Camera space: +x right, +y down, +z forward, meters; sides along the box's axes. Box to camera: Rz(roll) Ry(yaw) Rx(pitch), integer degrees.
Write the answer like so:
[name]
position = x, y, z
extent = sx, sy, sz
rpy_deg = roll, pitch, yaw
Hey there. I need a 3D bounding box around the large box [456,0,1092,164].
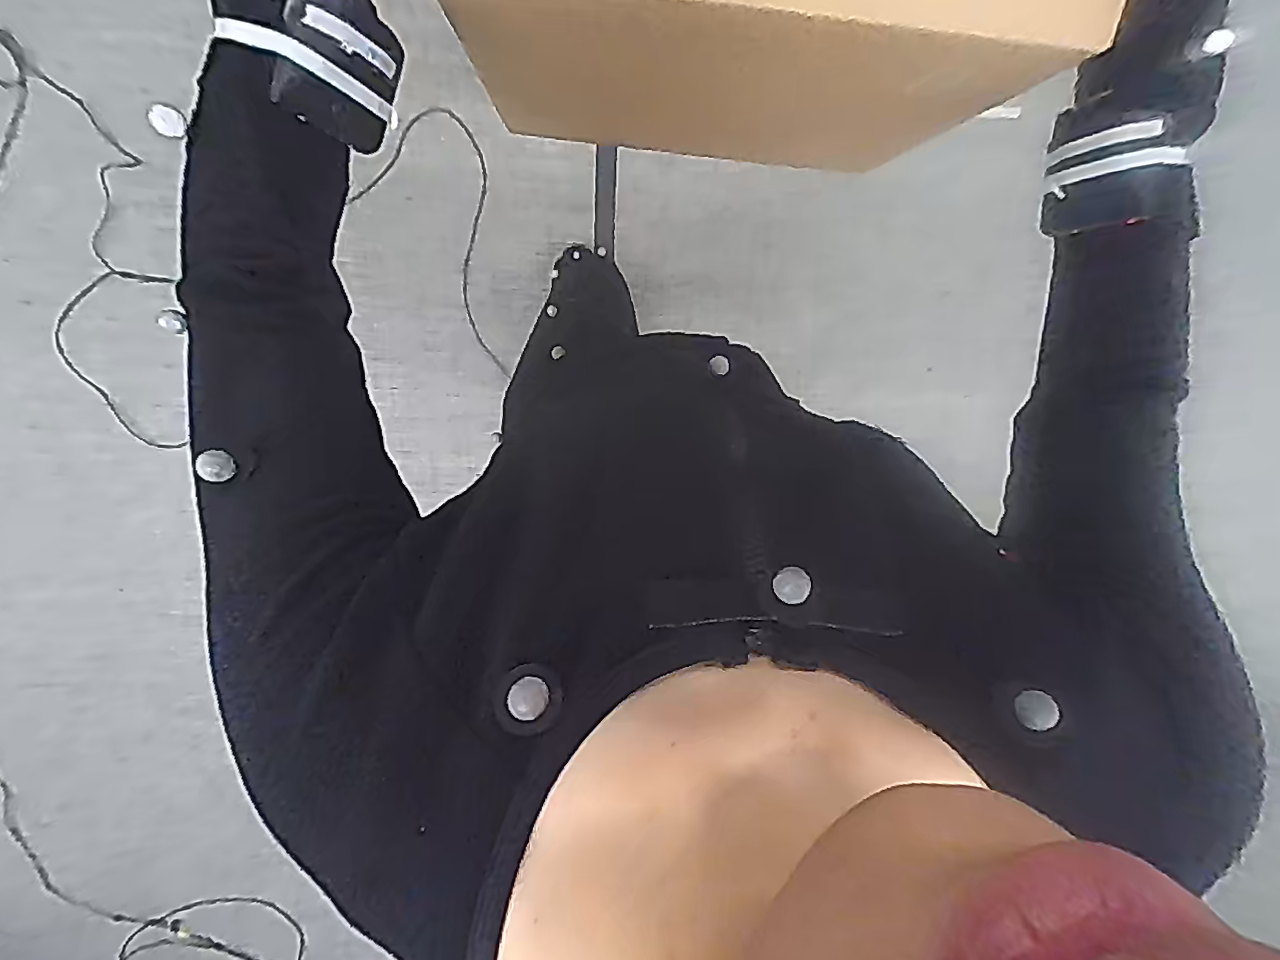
[large box]
position = 0.076, -0.470, 0.418
extent = 0.408, 0.320, 0.320
rpy_deg = 3, 108, -6
